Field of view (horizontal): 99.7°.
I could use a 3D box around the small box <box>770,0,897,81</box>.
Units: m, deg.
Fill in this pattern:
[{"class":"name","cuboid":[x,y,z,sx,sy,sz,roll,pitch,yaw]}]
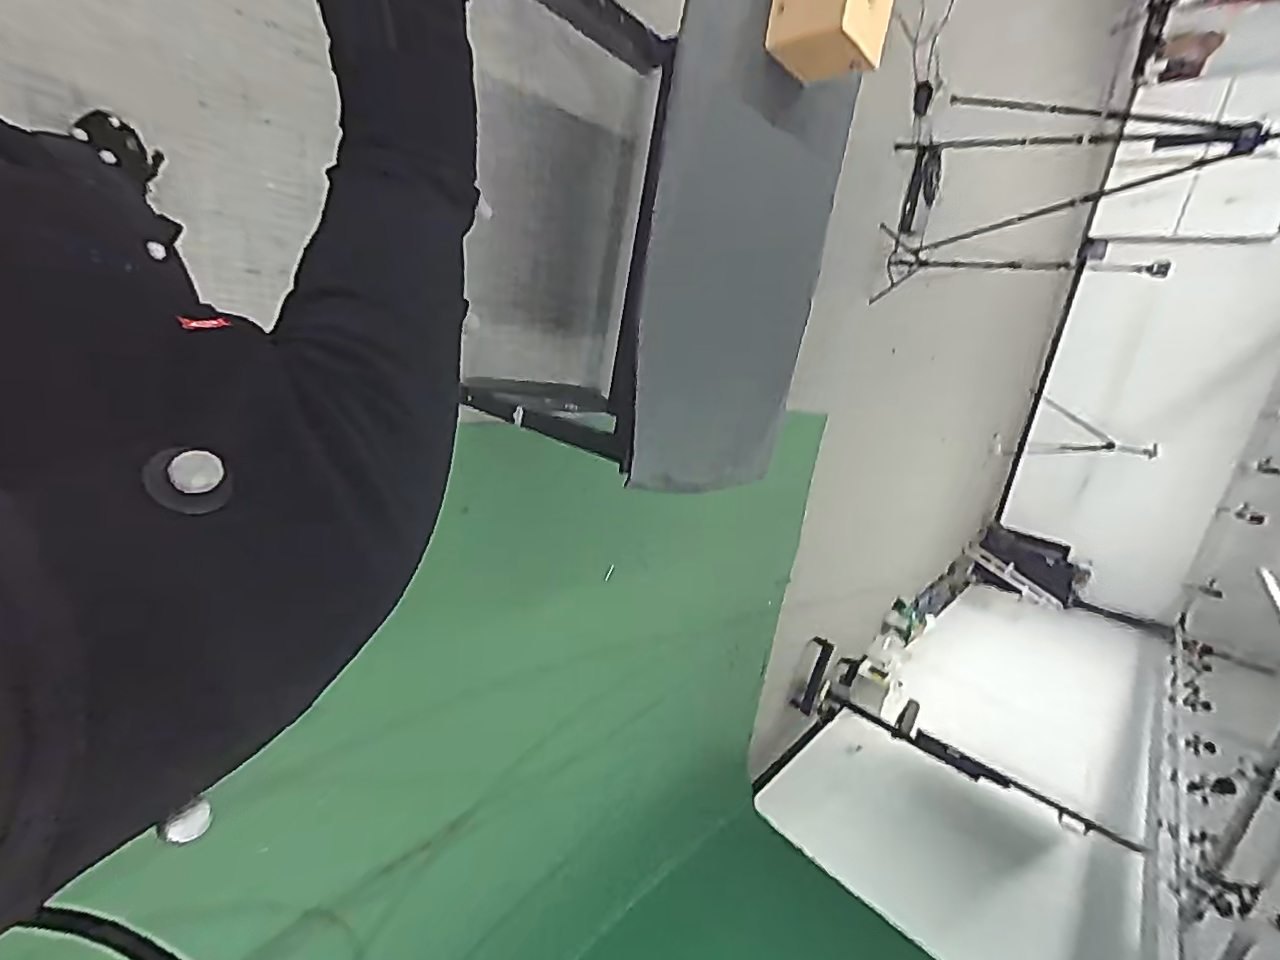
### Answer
[{"class":"small box","cuboid":[0.375,-0.908,1.047,0.179,0.176,0.168,-8,113,-46]}]
